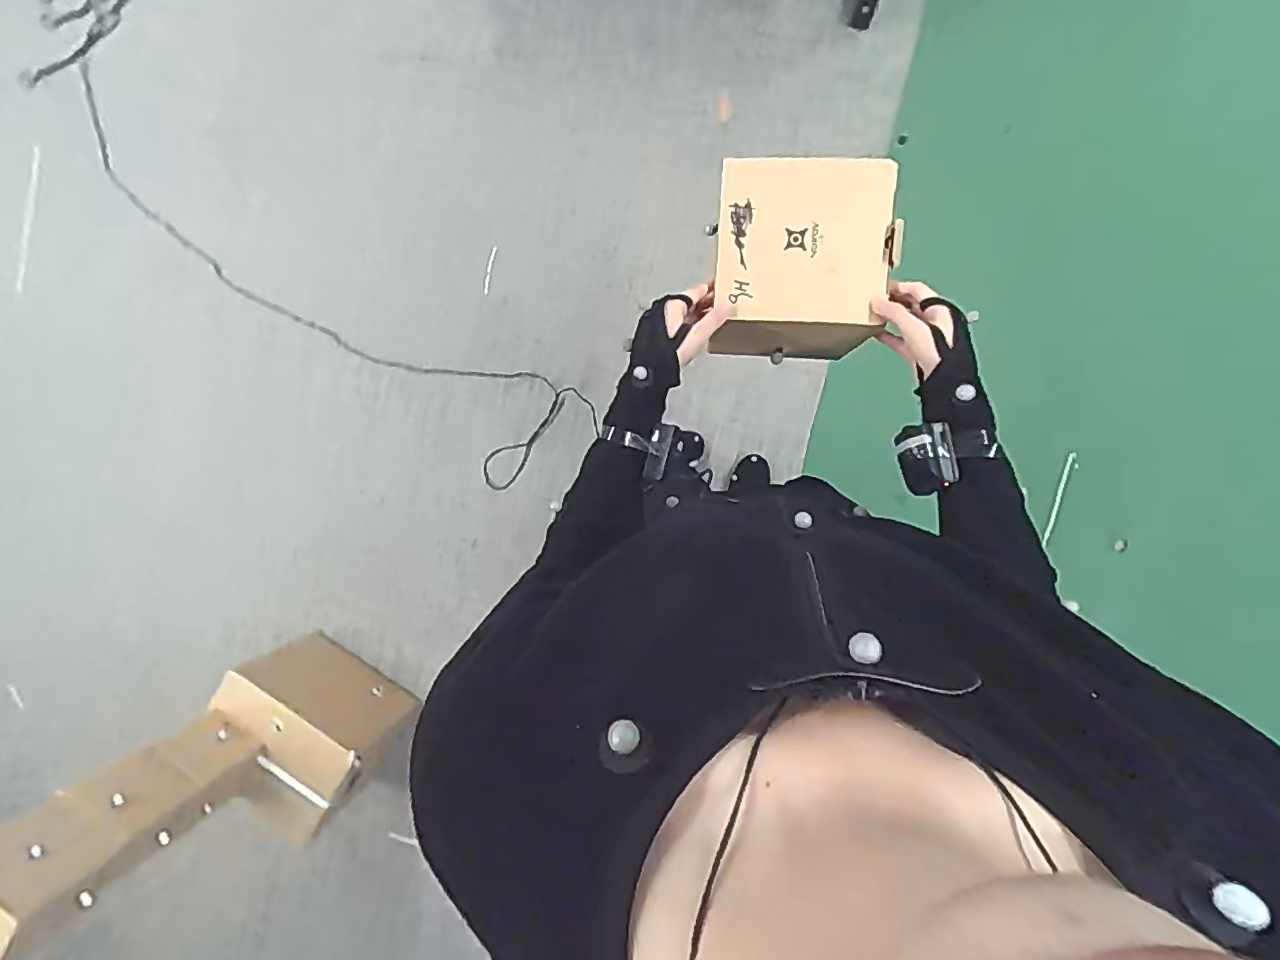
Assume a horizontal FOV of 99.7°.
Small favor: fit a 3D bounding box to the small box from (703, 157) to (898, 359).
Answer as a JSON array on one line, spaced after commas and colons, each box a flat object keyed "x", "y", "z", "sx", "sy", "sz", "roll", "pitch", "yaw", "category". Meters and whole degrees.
[{"x": 0.169, "y": -0.239, "z": 0.622, "sx": 0.179, "sy": 0.176, "sz": 0.168, "roll": 4, "pitch": 90, "yaw": 4, "category": "small box"}]

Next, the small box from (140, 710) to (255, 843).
[{"x": -1.069, "y": 0.692, "z": 1.280, "sx": 0.168, "sy": 0.176, "sz": 0.179, "roll": 33, "pitch": 97, "yaw": 4, "category": "small box"}]

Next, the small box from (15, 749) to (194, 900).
[{"x": -1.096, "y": 0.696, "z": 1.120, "sx": 0.179, "sy": 0.176, "sz": 0.168, "roll": 35, "pitch": 97, "yaw": 3, "category": "small box"}]
